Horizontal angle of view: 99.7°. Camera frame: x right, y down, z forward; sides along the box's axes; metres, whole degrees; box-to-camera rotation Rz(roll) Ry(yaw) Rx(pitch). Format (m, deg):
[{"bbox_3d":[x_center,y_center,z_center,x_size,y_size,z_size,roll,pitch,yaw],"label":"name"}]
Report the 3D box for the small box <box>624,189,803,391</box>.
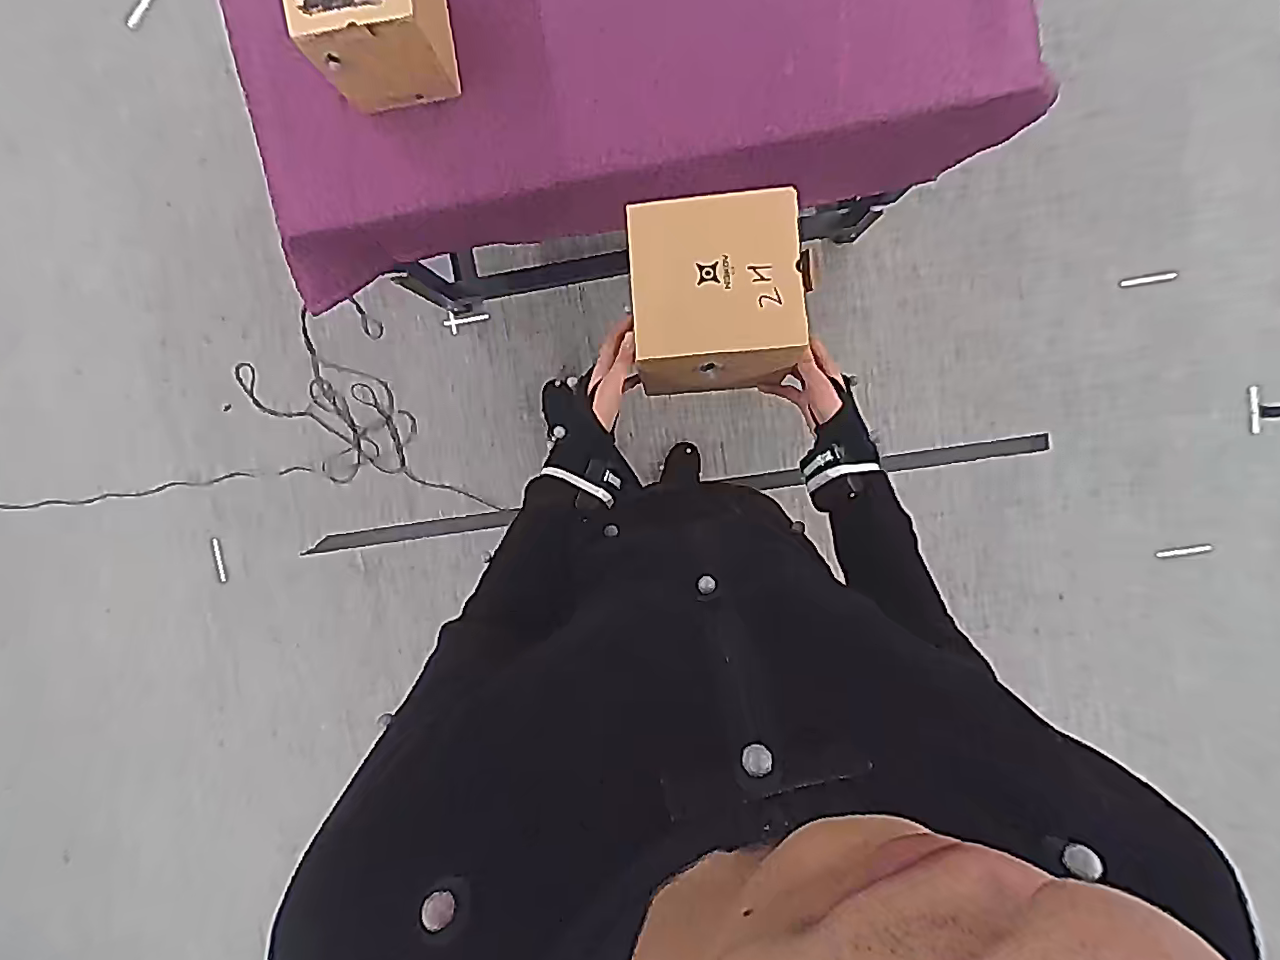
[{"bbox_3d":[0.080,-0.205,0.630,0.179,0.176,0.168,-4,86,3],"label":"small box"}]
